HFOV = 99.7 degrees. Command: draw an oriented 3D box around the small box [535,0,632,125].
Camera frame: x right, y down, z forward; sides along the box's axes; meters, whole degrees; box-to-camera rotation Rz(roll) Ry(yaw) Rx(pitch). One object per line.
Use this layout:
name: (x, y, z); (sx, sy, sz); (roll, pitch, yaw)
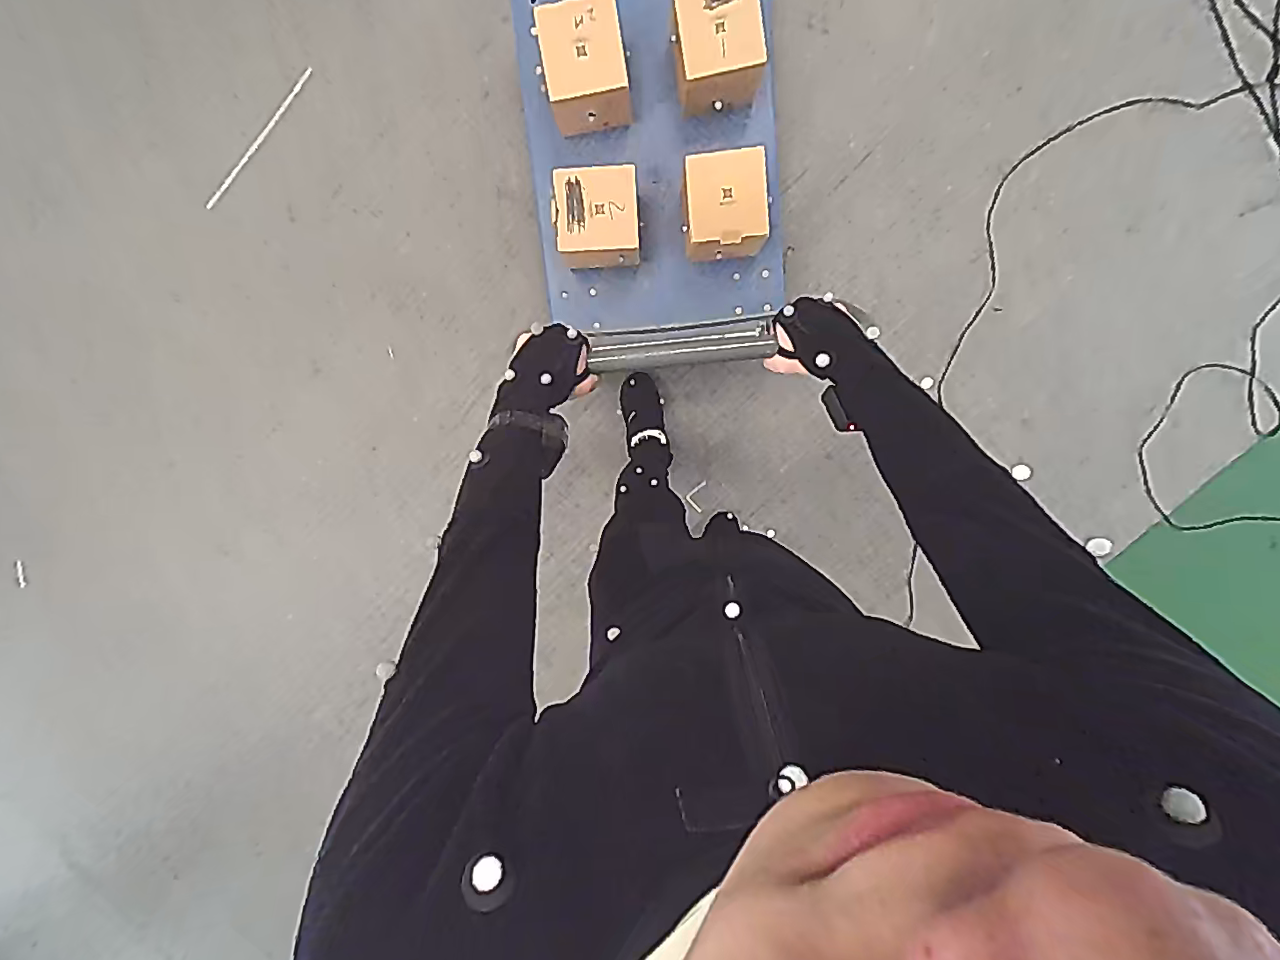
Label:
small box: (-0.112, -0.887, 1.150); (0.168, 0.176, 0.179); (-9, 100, 2)

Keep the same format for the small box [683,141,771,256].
small box: (0.188, -0.613, 1.195); (0.168, 0.176, 0.179); (-5, 101, 3)

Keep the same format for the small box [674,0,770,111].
small box: (0.165, -0.922, 1.136); (0.168, 0.176, 0.179); (-10, 101, 4)
